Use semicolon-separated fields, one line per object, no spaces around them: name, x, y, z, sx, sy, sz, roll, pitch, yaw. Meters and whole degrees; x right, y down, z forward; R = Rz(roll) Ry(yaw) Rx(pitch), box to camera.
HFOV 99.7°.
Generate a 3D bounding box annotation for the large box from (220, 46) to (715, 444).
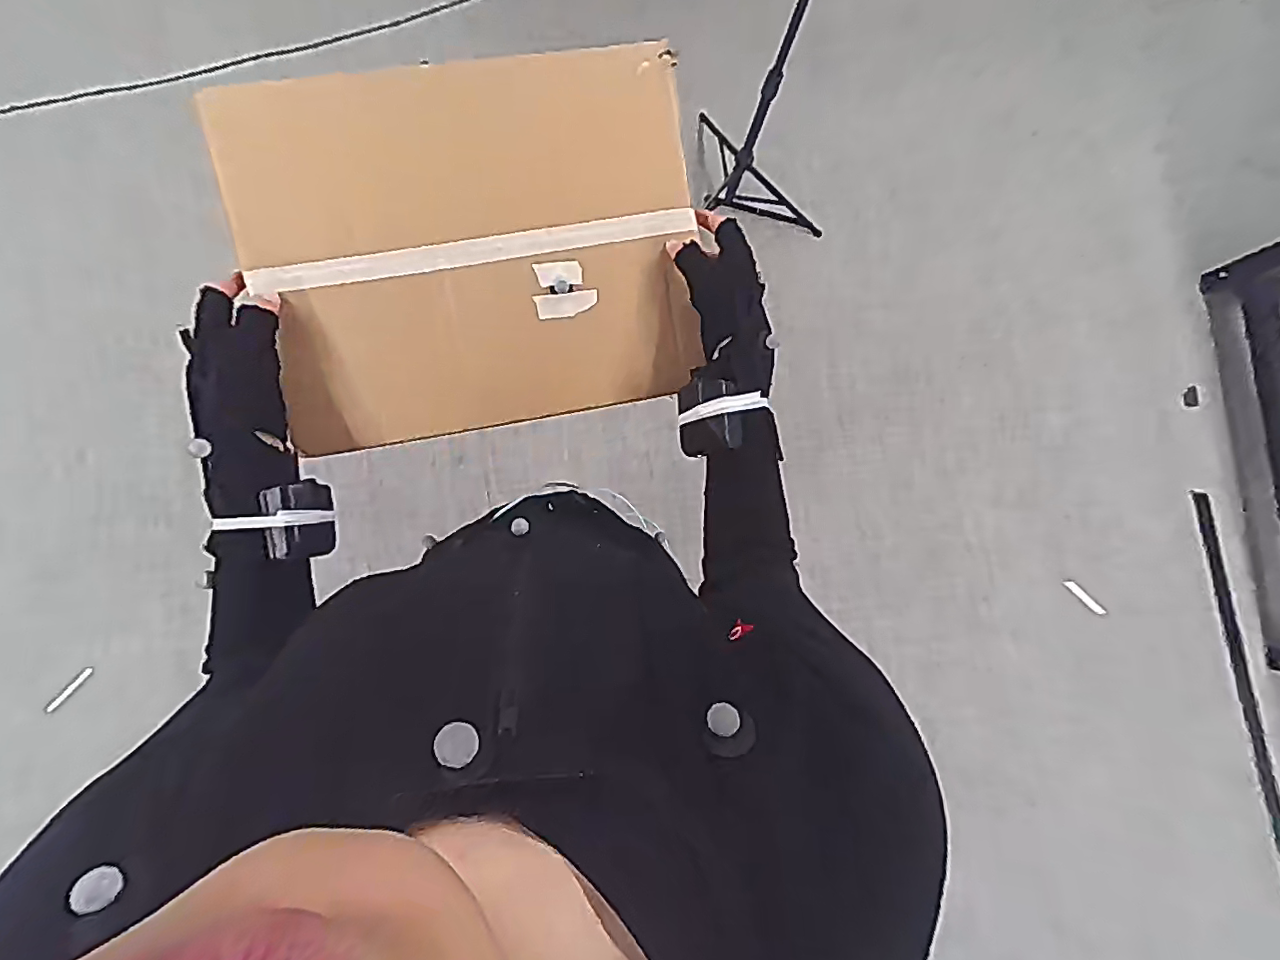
large box;-0.164;-0.237;0.649;0.408;0.320;0.320;-11;99;-7
